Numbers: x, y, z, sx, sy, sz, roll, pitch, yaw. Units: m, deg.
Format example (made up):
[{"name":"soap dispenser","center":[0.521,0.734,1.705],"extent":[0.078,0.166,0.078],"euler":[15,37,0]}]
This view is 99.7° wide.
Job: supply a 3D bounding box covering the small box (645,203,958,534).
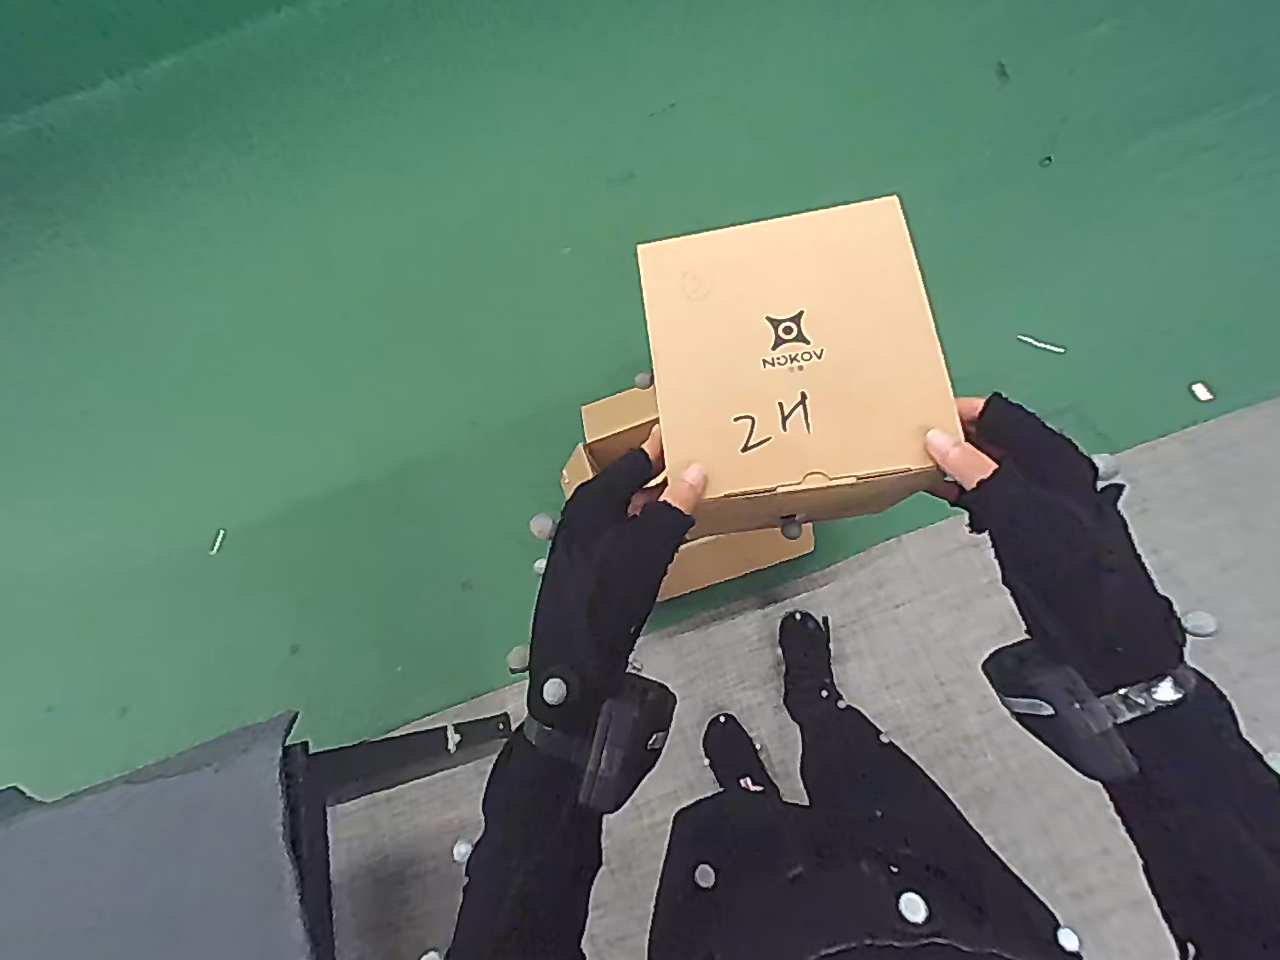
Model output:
[{"name":"small box","center":[0.101,-0.065,0.409],"extent":[0.168,0.176,0.179],"euler":[-8,75,7]}]
